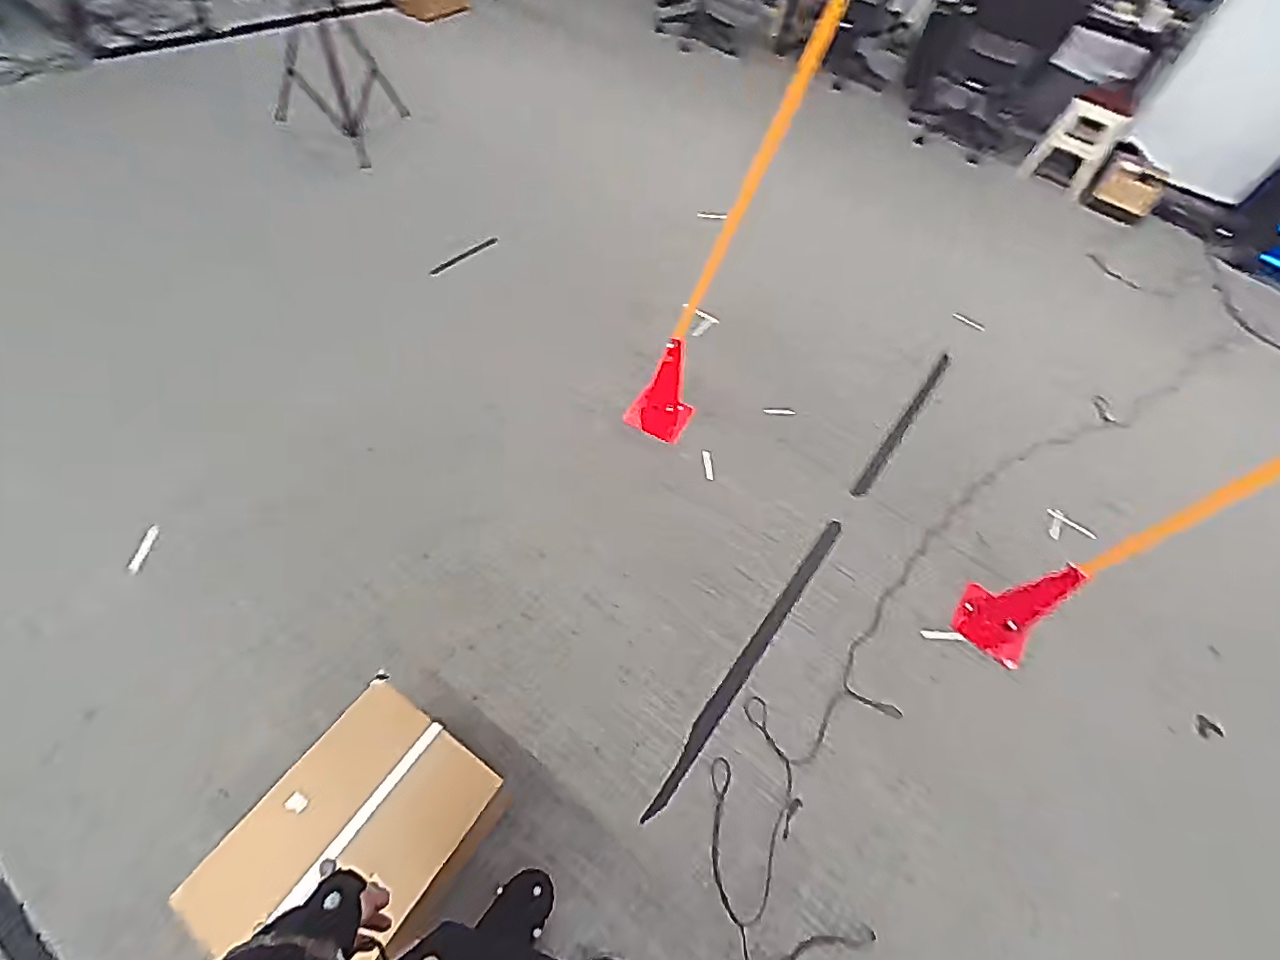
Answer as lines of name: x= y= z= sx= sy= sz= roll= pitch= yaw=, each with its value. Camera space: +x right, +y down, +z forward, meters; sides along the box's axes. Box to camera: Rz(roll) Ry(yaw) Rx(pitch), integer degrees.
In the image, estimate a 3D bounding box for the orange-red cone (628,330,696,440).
orange-red cone: x=0.099 y=-0.334 z=1.756 sx=0.199 sy=0.360 sz=0.198 roll=27 pitch=55 yaw=11
